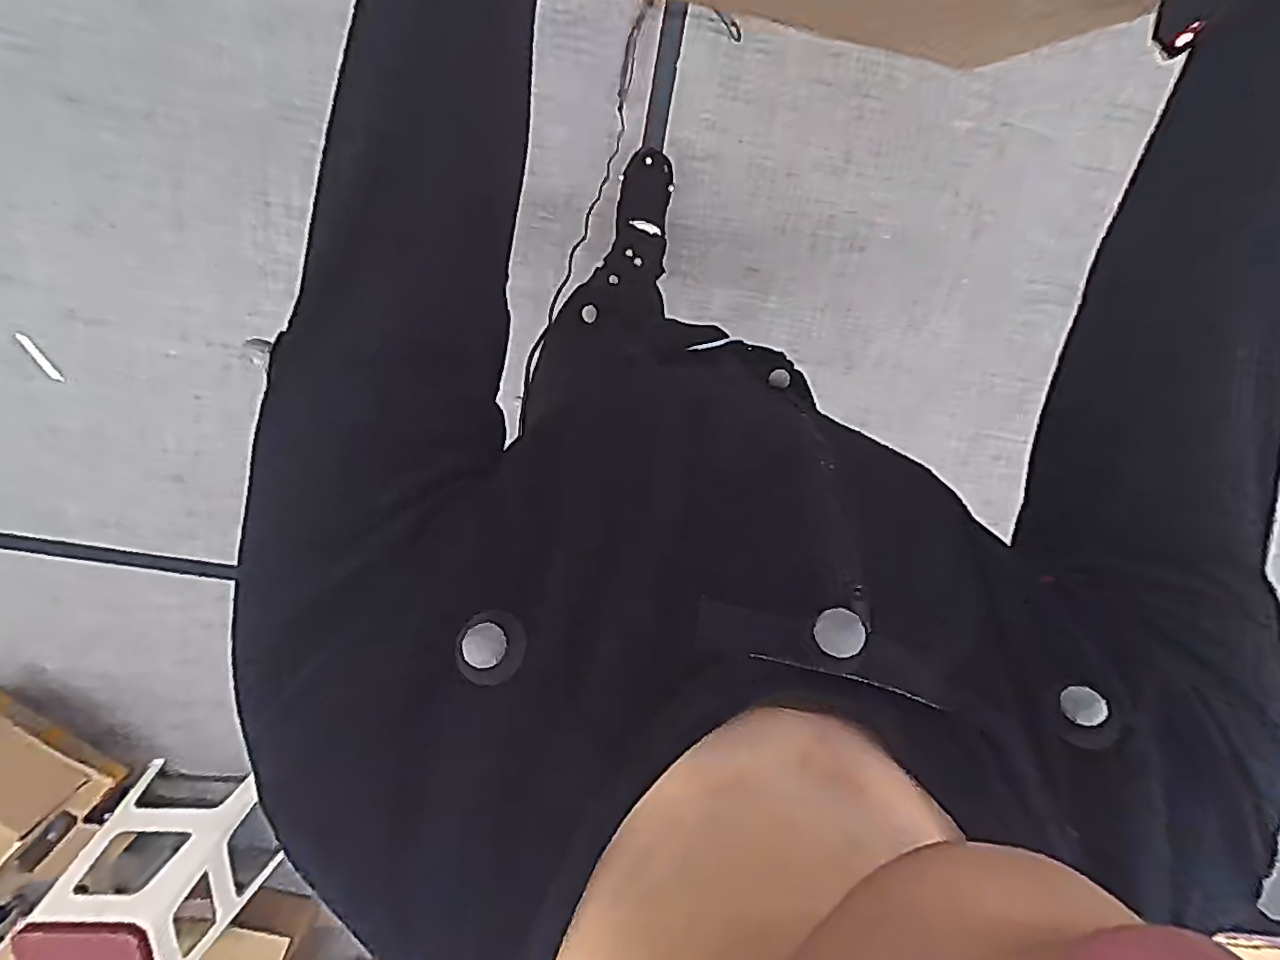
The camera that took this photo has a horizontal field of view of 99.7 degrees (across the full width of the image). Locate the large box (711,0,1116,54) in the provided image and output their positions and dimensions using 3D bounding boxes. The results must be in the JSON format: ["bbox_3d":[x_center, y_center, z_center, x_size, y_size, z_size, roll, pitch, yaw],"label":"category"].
[{"bbox_3d":[0.187,-0.560,0.392,0.408,0.320,0.320,11,123,-3],"label":"large box"}]
